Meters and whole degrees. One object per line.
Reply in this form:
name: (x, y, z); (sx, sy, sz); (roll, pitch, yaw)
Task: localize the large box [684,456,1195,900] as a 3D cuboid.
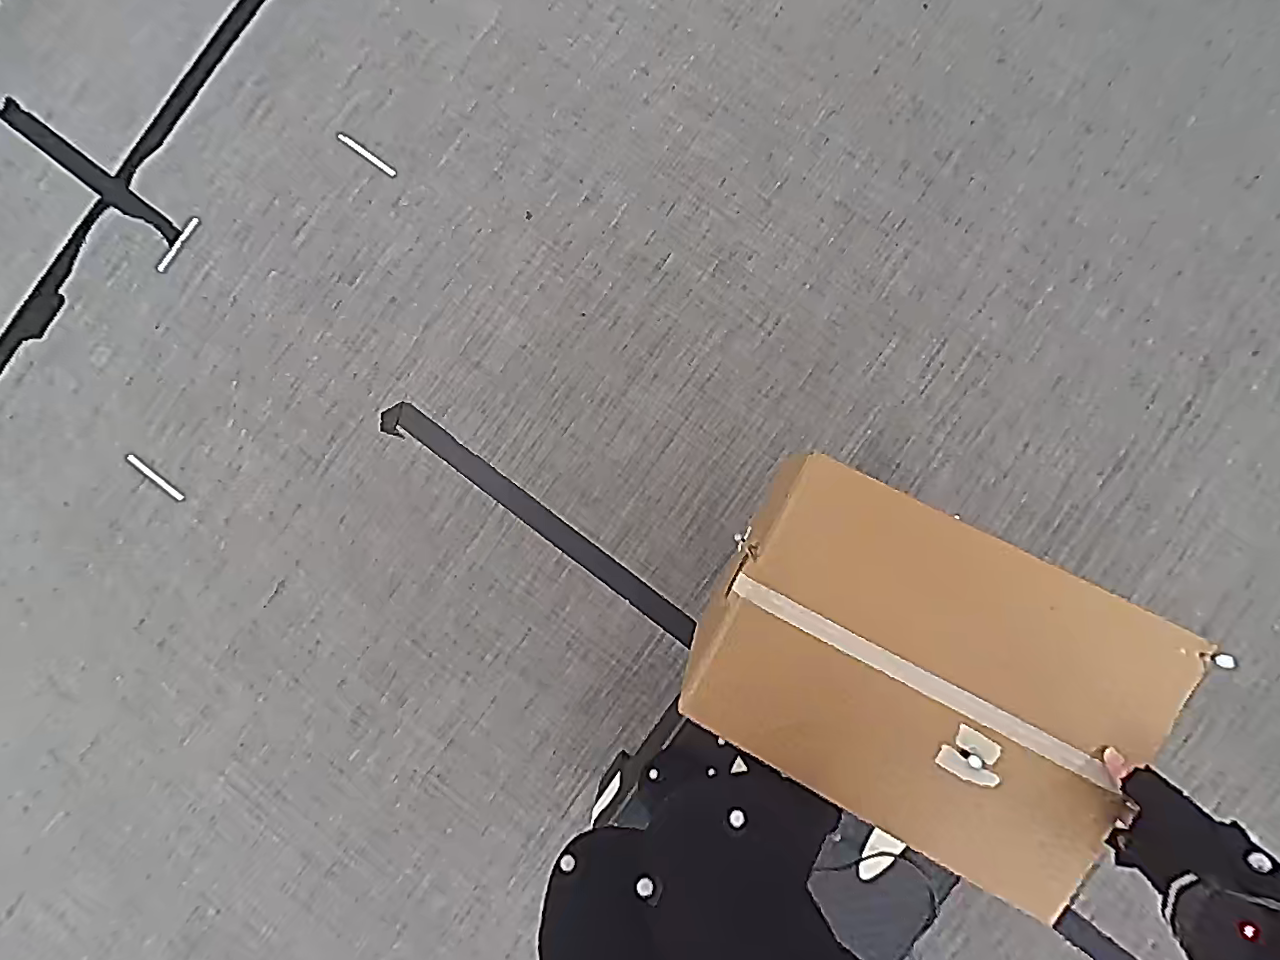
large box: (0.308, 0.193, 0.695); (0.408, 0.320, 0.320); (27, 95, 9)
